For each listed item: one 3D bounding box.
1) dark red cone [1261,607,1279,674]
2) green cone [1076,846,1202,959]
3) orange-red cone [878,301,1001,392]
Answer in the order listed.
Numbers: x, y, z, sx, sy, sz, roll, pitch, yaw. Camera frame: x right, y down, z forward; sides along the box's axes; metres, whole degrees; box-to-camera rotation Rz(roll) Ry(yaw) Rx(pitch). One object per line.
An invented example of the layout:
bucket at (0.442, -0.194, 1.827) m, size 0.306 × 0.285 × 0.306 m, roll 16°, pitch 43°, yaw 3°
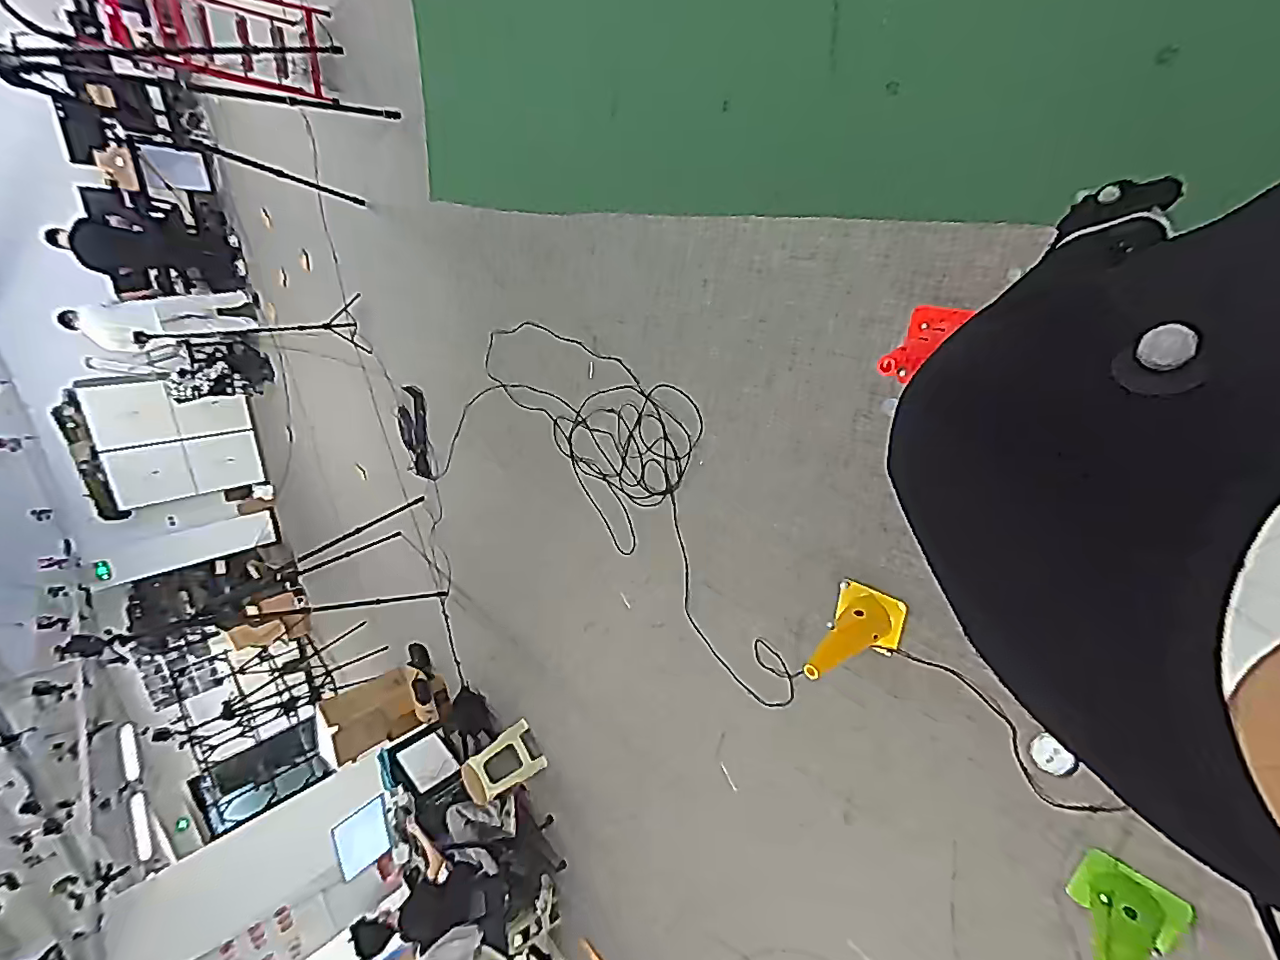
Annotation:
dark red cone at (1.166, 0.335, 0.861) m, size 0.202 × 0.394 × 0.201 m, roll 19°, pitch 117°, yaw 42°
green cone at (1.117, 1.087, 1.247) m, size 0.202 × 0.368 × 0.200 m, roll 24°, pitch 121°, yaw 41°
orange-red cone at (0.639, -0.286, 1.228) m, size 0.198 × 0.360 × 0.199 m, roll 26°, pitch 124°, yaw 40°
